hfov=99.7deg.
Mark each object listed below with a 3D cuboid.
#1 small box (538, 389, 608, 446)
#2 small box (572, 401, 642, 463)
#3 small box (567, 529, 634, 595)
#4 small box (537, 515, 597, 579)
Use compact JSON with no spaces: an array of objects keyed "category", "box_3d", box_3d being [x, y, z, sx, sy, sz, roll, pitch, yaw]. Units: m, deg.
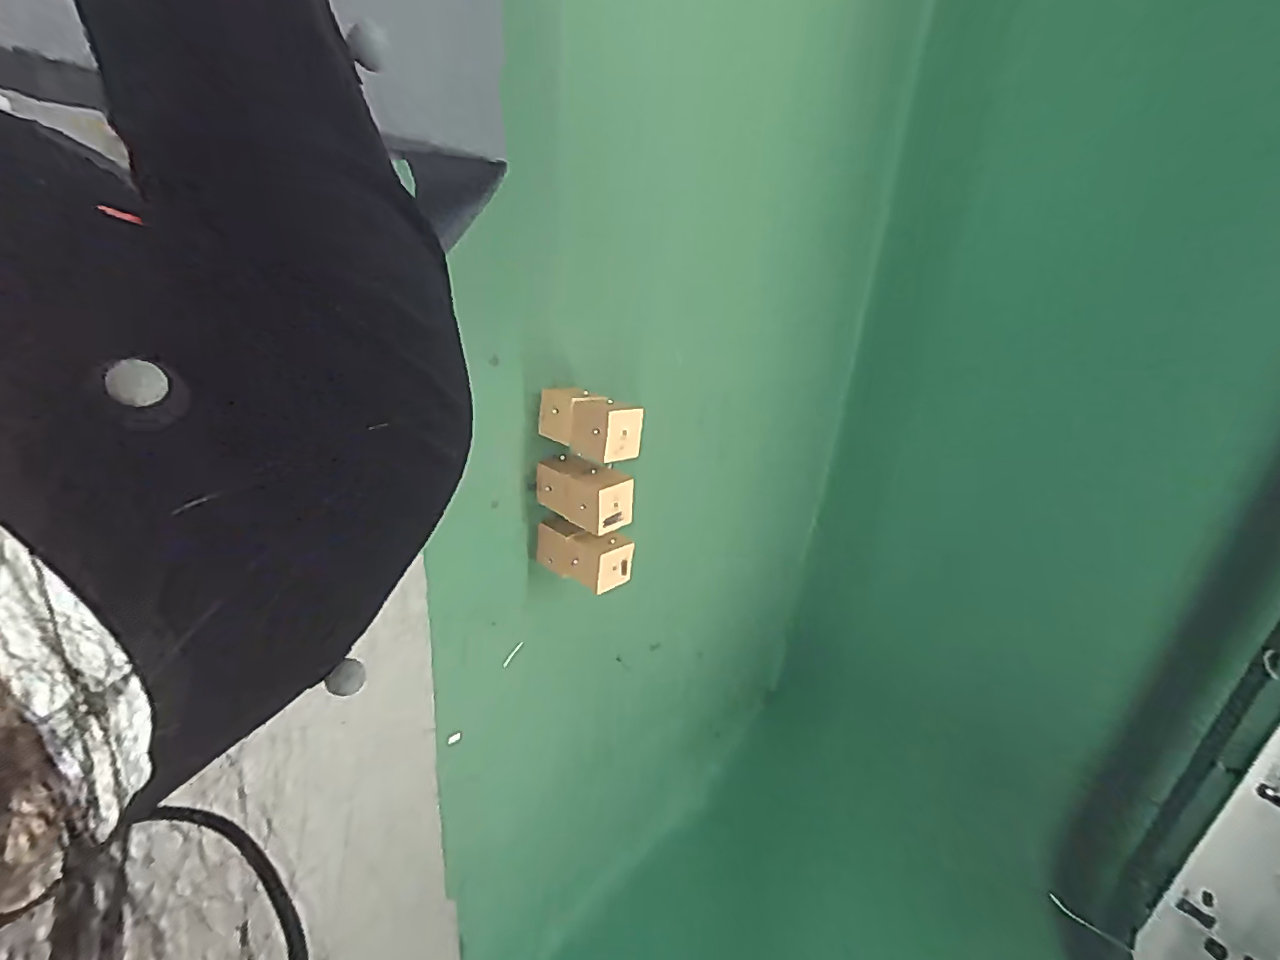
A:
[{"category":"small box","box_3d":[-0.242,-0.225,1.922,0.179,0.176,0.168,-11,116,-48]},{"category":"small box","box_3d":[-0.115,-0.170,1.831,0.168,0.176,0.179,-12,116,-47]},{"category":"small box","box_3d":[-0.150,0.300,2.024,0.179,0.176,0.168,-15,120,-46]},{"category":"small box","box_3d":[-0.285,0.255,2.106,0.168,0.176,0.179,-13,118,-47]}]
